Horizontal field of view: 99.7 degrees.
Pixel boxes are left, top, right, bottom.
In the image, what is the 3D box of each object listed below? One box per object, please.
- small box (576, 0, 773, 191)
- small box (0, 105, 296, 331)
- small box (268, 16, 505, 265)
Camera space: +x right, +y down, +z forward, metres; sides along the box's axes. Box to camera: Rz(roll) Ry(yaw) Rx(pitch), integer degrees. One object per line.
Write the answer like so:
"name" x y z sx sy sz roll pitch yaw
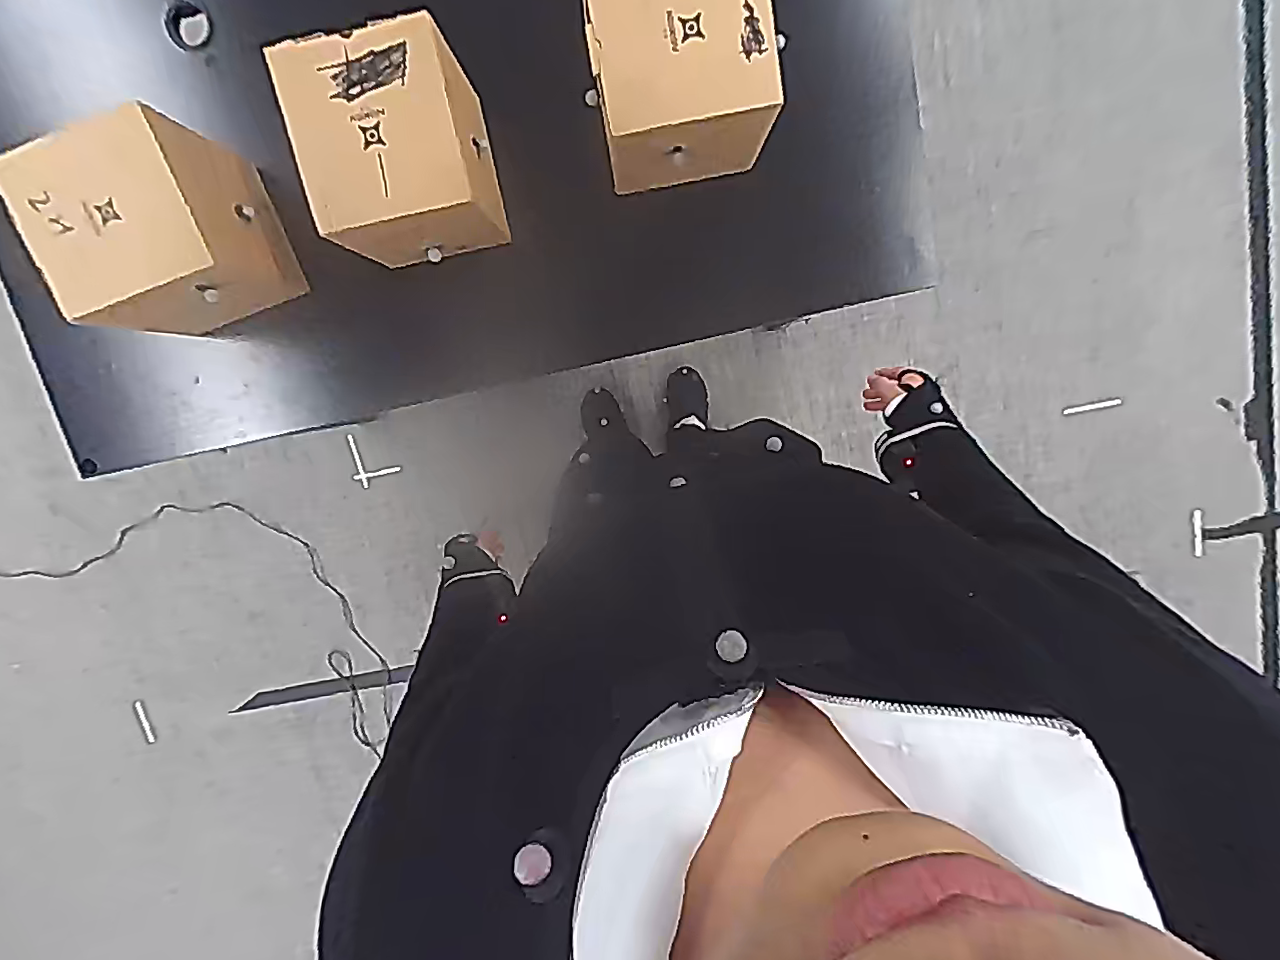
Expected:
"small box" 0.035 -0.446 0.600 0.179 0.176 0.168 -10 100 3
"small box" -0.546 -0.285 0.632 0.179 0.176 0.168 -19 100 4
"small box" -0.268 -0.365 0.617 0.168 0.176 0.179 -11 101 3
